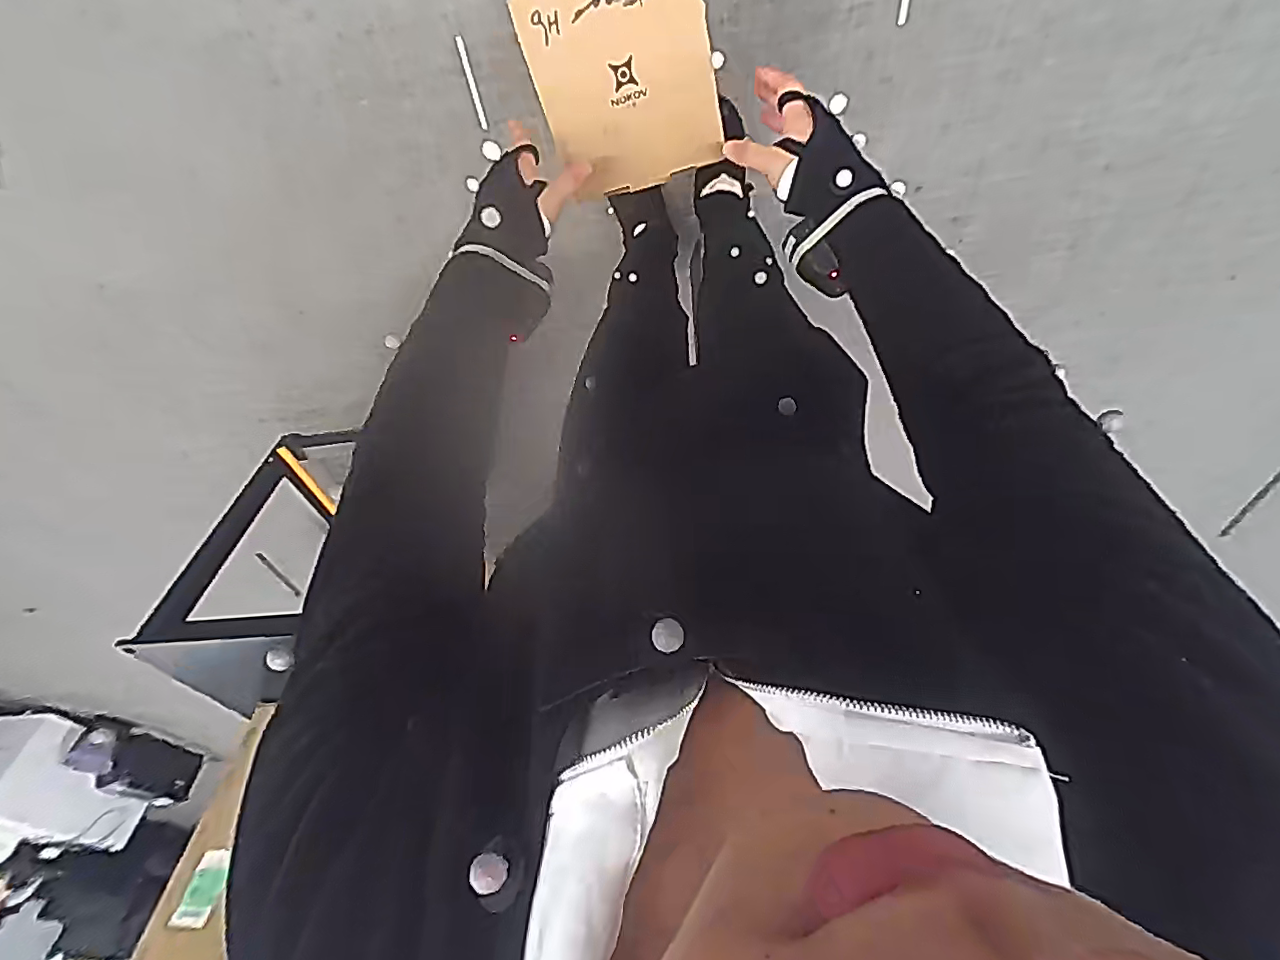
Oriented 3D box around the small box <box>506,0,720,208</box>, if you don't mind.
[{"bbox_3d":[-0.013,-0.421,0.561,0.168,0.176,0.179,-10,135,12],"label":"small box"}]
